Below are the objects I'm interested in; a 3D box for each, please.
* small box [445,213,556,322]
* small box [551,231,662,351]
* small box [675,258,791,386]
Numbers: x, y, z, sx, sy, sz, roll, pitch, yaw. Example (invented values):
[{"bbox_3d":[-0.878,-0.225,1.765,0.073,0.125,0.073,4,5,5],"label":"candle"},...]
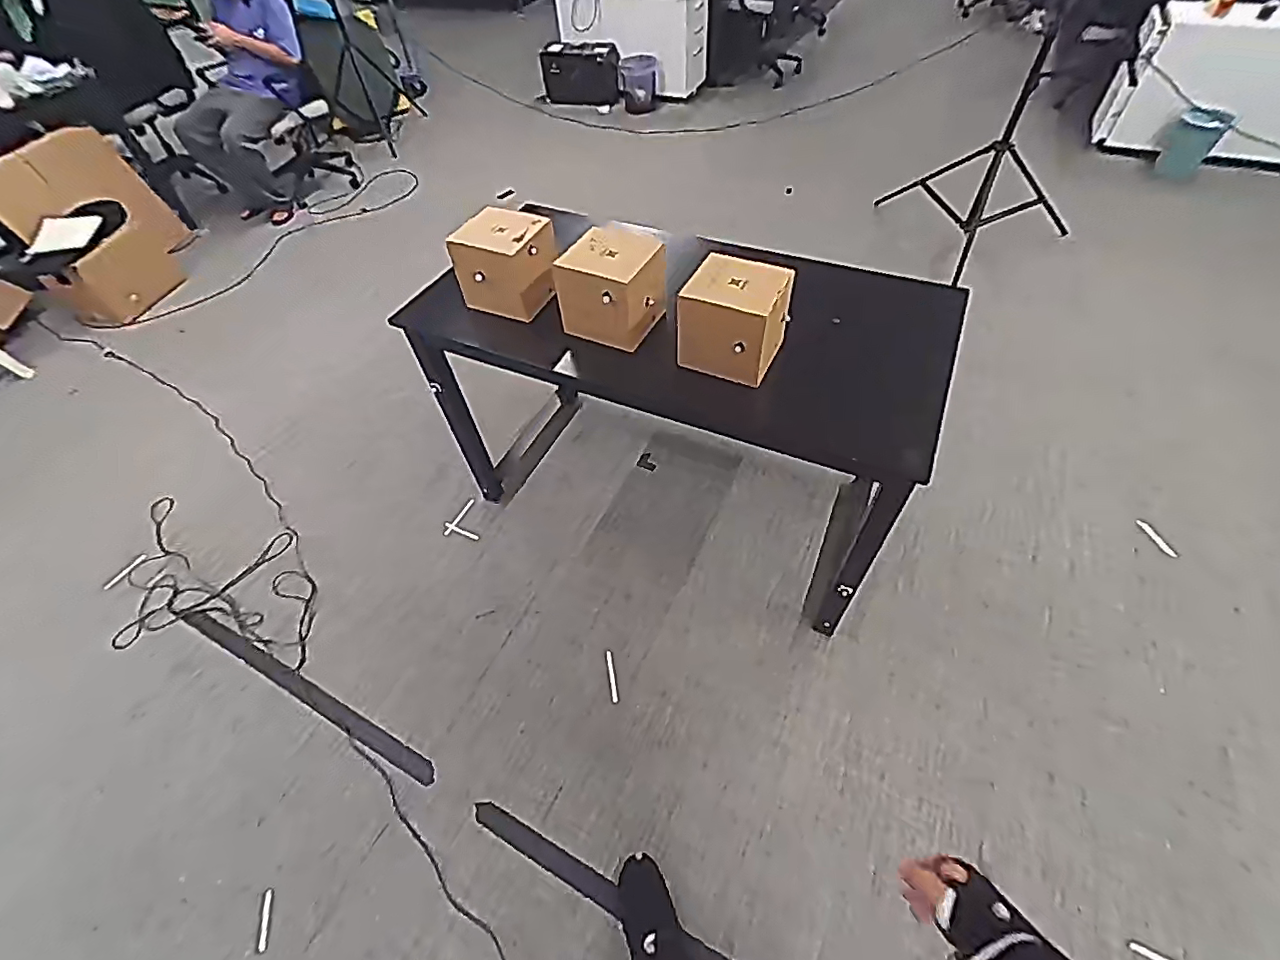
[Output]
[{"bbox_3d":[-0.308,-0.487,1.246,0.179,0.176,0.168,17,55,17],"label":"small box"},{"bbox_3d":[-0.063,-0.402,1.161,0.179,0.176,0.168,20,56,19],"label":"small box"},{"bbox_3d":[0.181,-0.311,1.076,0.179,0.176,0.168,19,54,19],"label":"small box"}]
